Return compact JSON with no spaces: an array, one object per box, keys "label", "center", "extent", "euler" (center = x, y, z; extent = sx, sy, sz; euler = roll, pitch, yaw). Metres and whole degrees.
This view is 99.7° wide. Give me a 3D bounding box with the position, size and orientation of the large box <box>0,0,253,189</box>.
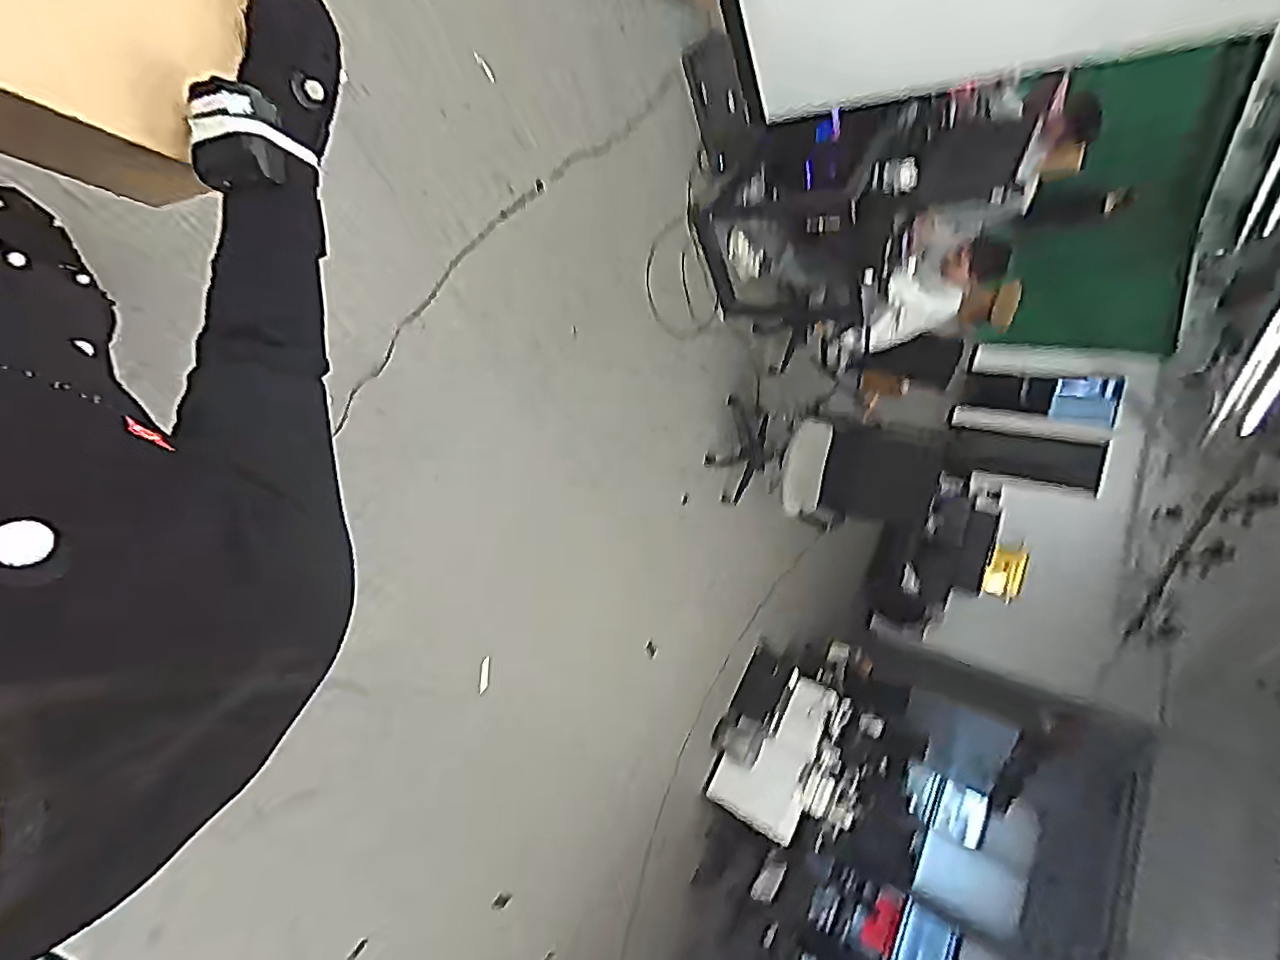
[{"label":"large box","center":[-0.537,-0.447,0.355],"extent":[0.408,0.320,0.320],"euler":[4,101,-53]}]
